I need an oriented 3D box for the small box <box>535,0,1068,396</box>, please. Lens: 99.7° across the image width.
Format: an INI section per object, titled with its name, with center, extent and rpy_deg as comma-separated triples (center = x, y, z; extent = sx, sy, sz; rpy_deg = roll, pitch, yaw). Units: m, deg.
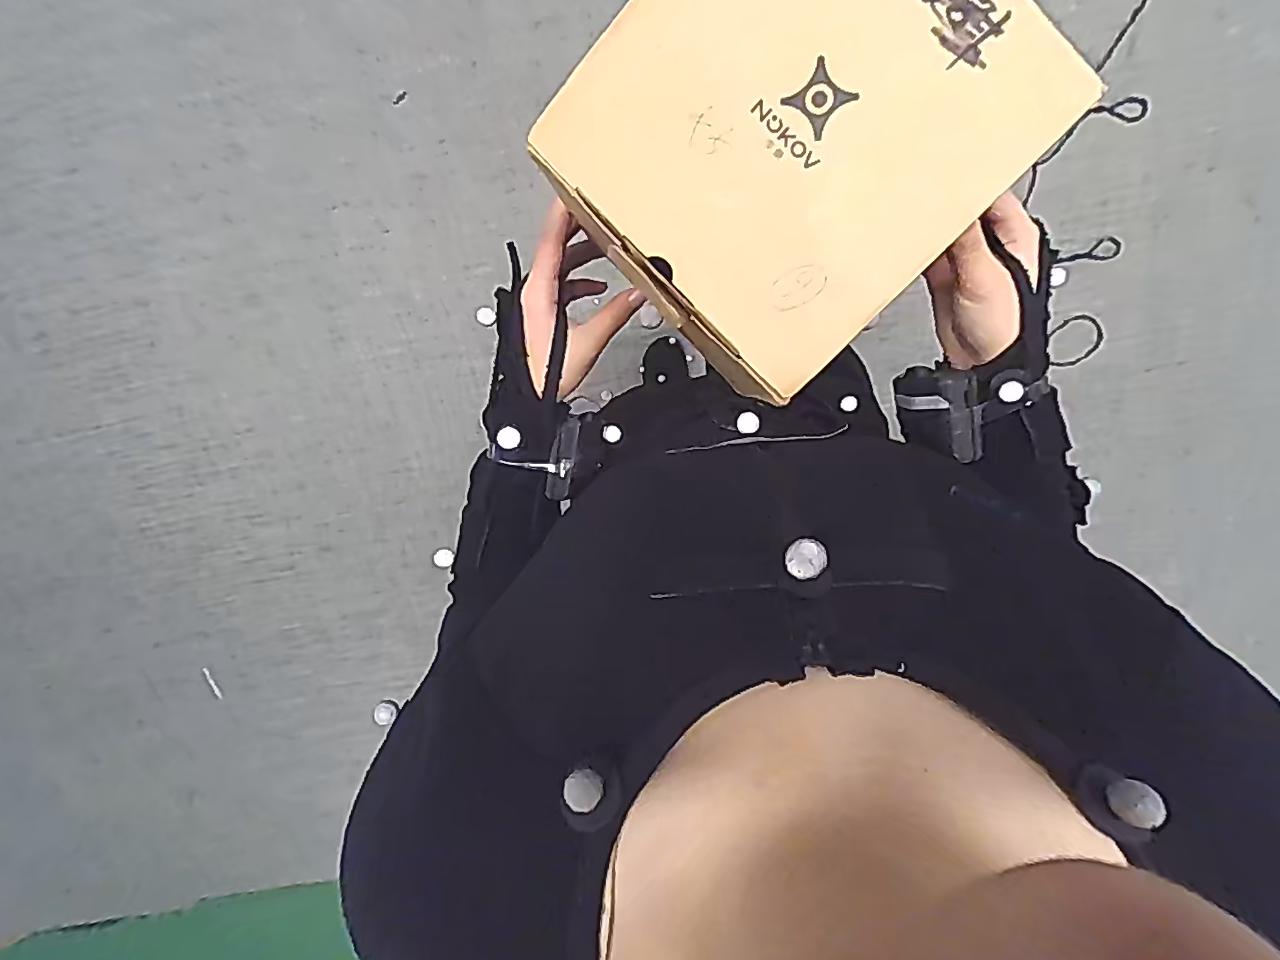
[small box]
center = 0.074, -0.168, 0.318
extent = 0.168, 0.176, 0.179
rpy_deg = 44, 101, -4
